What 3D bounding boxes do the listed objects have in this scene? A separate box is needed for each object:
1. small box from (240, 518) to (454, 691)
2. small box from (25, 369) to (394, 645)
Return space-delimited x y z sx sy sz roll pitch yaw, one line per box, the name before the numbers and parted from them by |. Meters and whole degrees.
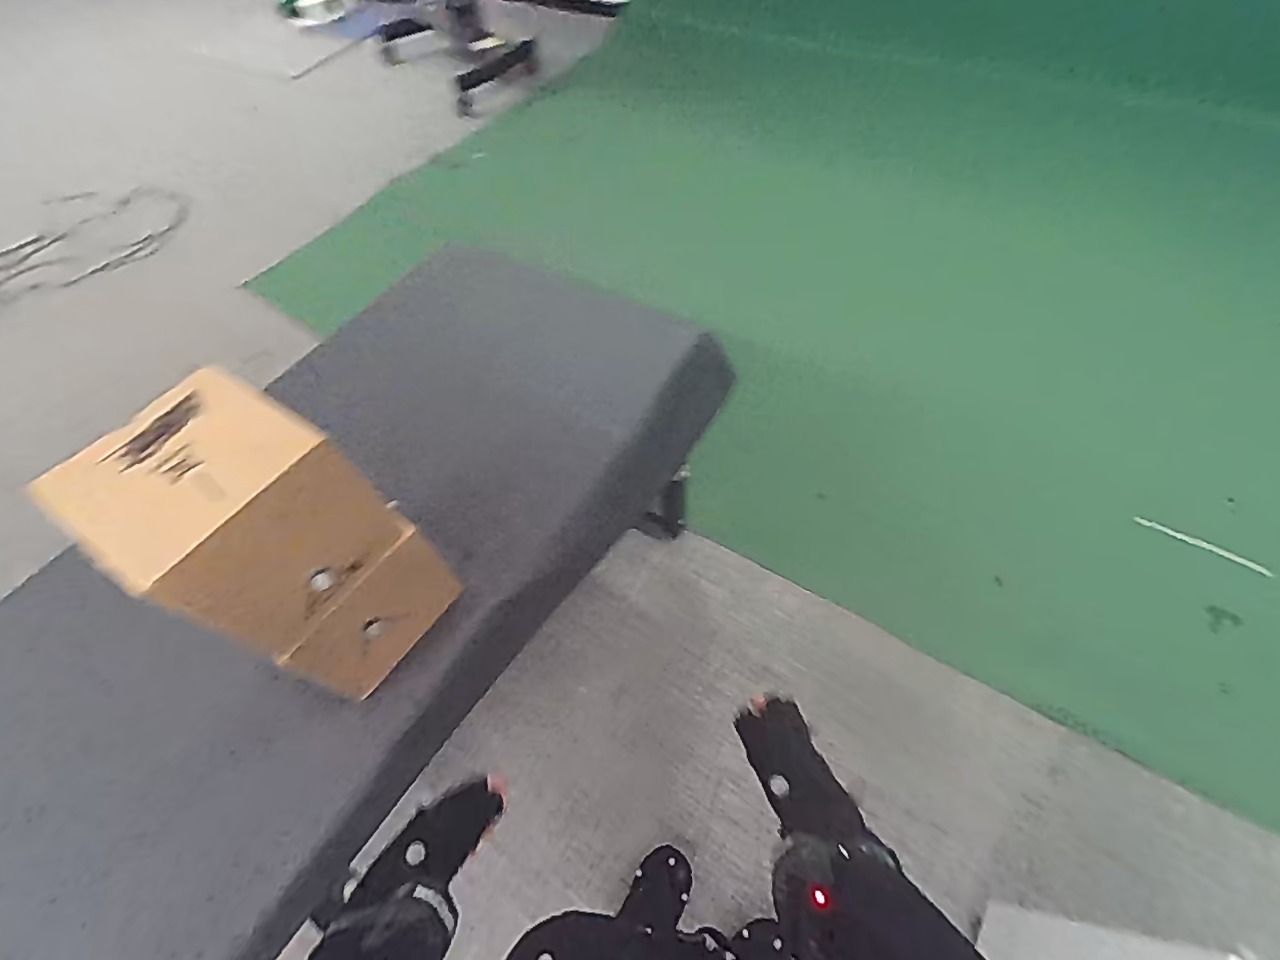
small box | -0.358 0.123 0.645 0.168 0.176 0.179 28 64 21
small box | -0.380 0.030 0.511 0.179 0.176 0.168 23 61 20
